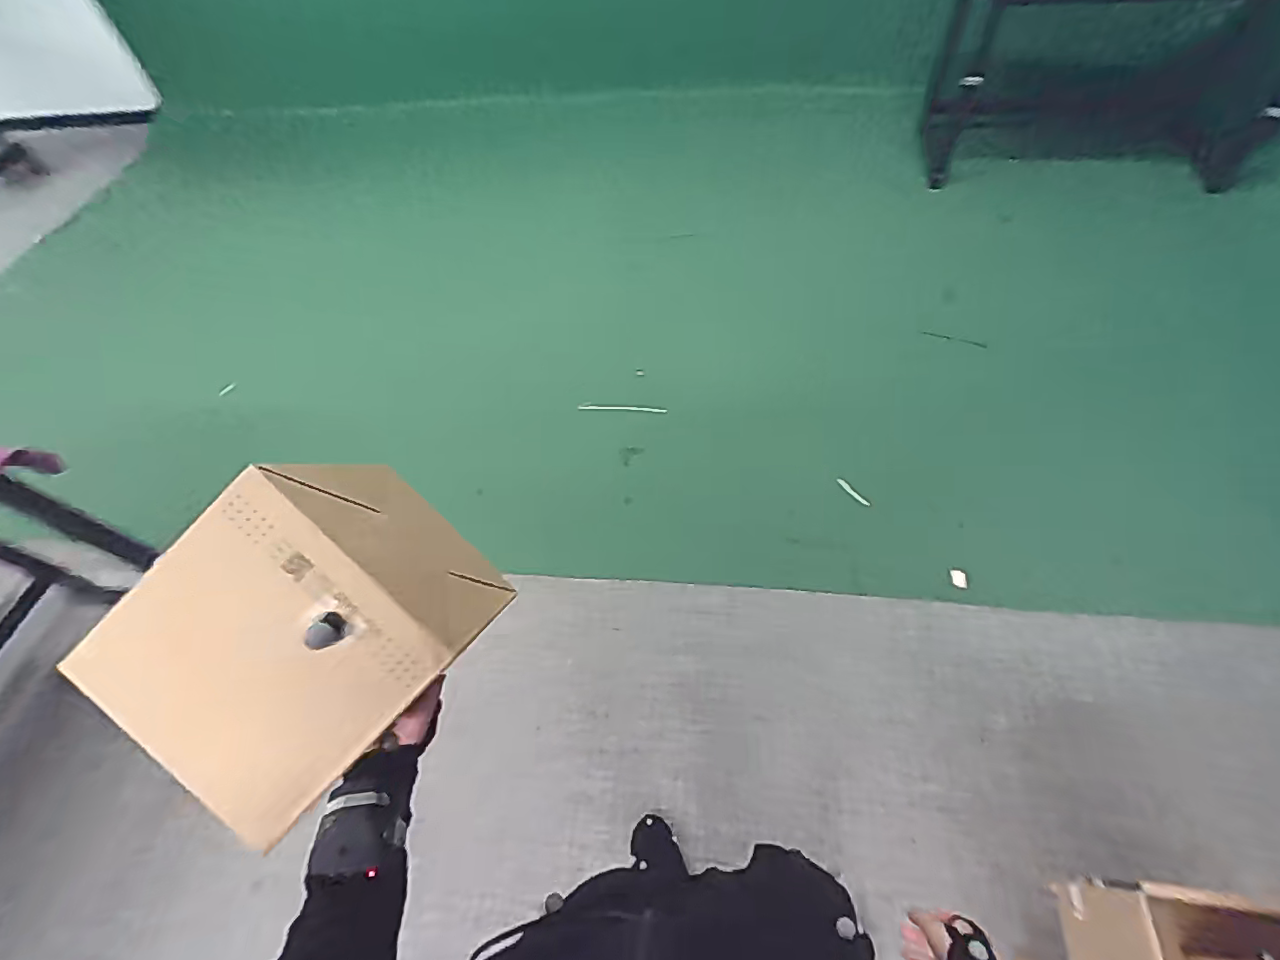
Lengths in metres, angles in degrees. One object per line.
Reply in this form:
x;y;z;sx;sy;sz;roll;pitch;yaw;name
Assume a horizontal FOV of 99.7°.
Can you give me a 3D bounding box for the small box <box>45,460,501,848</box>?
-0.225;0.098;0.393;0.168;0.179;0.176;43;89;-3;small box
